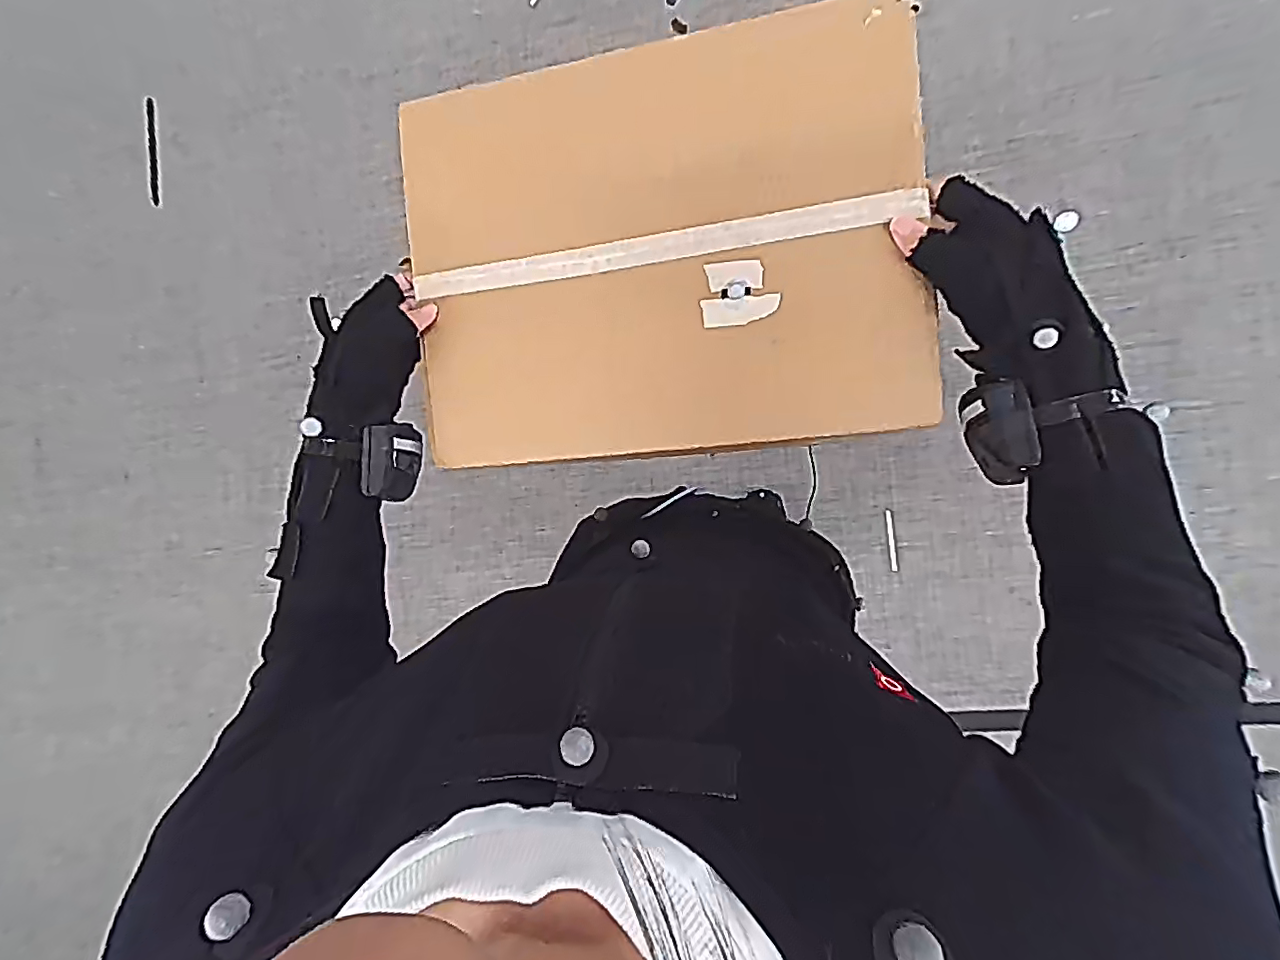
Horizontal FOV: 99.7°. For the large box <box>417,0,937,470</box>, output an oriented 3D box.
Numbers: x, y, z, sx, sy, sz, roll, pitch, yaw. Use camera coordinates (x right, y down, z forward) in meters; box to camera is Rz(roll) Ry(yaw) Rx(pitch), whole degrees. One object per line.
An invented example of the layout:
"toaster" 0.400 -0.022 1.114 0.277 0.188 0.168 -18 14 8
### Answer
"large box" 0.039 -0.187 0.582 0.408 0.320 0.320 -5 92 11
